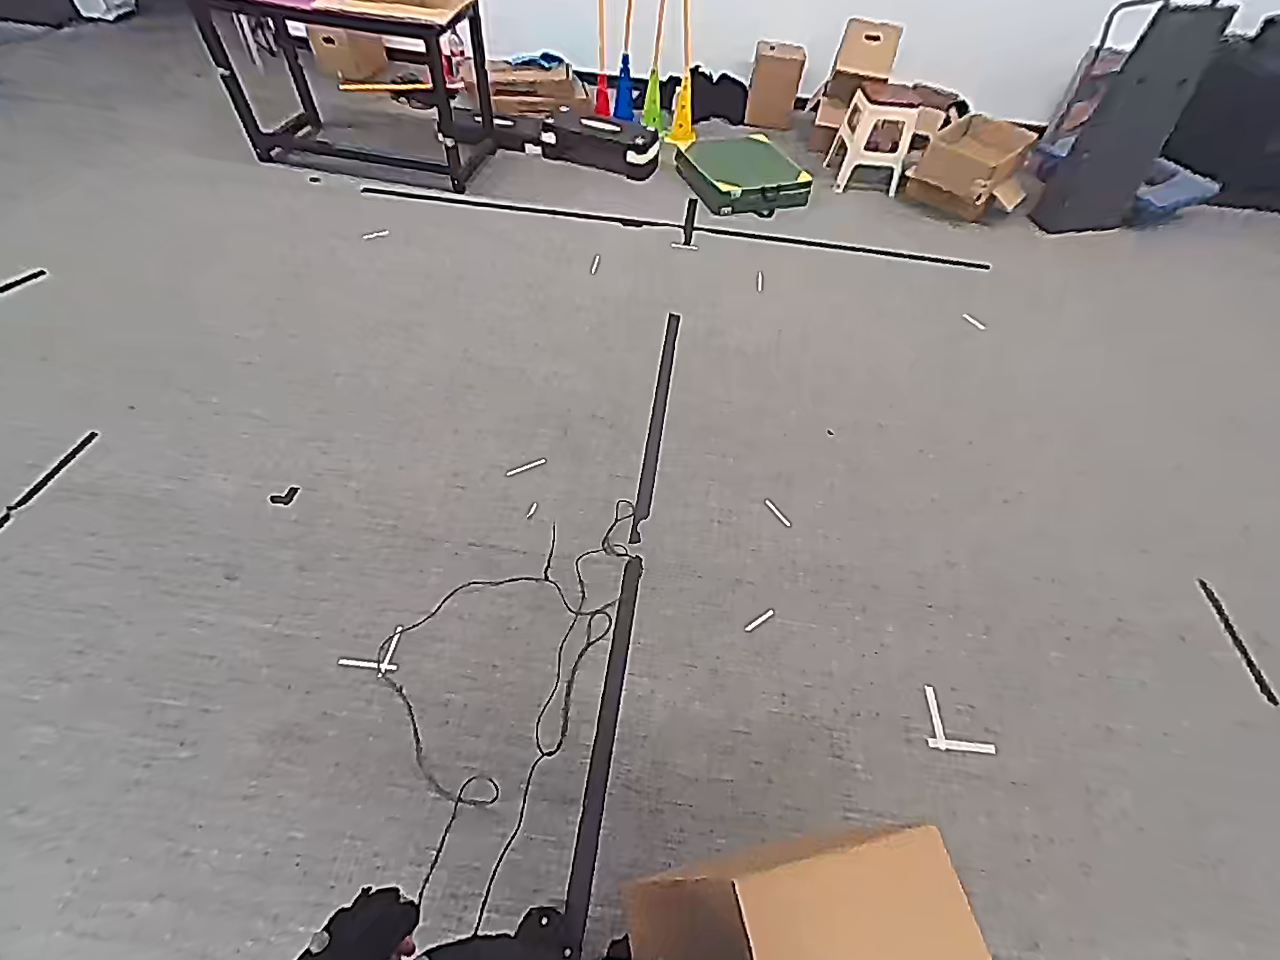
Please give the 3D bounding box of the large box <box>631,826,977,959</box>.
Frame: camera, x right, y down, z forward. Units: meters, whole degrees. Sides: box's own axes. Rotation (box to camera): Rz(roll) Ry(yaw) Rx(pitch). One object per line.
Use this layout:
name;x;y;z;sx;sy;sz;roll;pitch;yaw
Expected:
large box;0.213;0.693;0.729;0.320;0.408;0.320;2;54;-20
